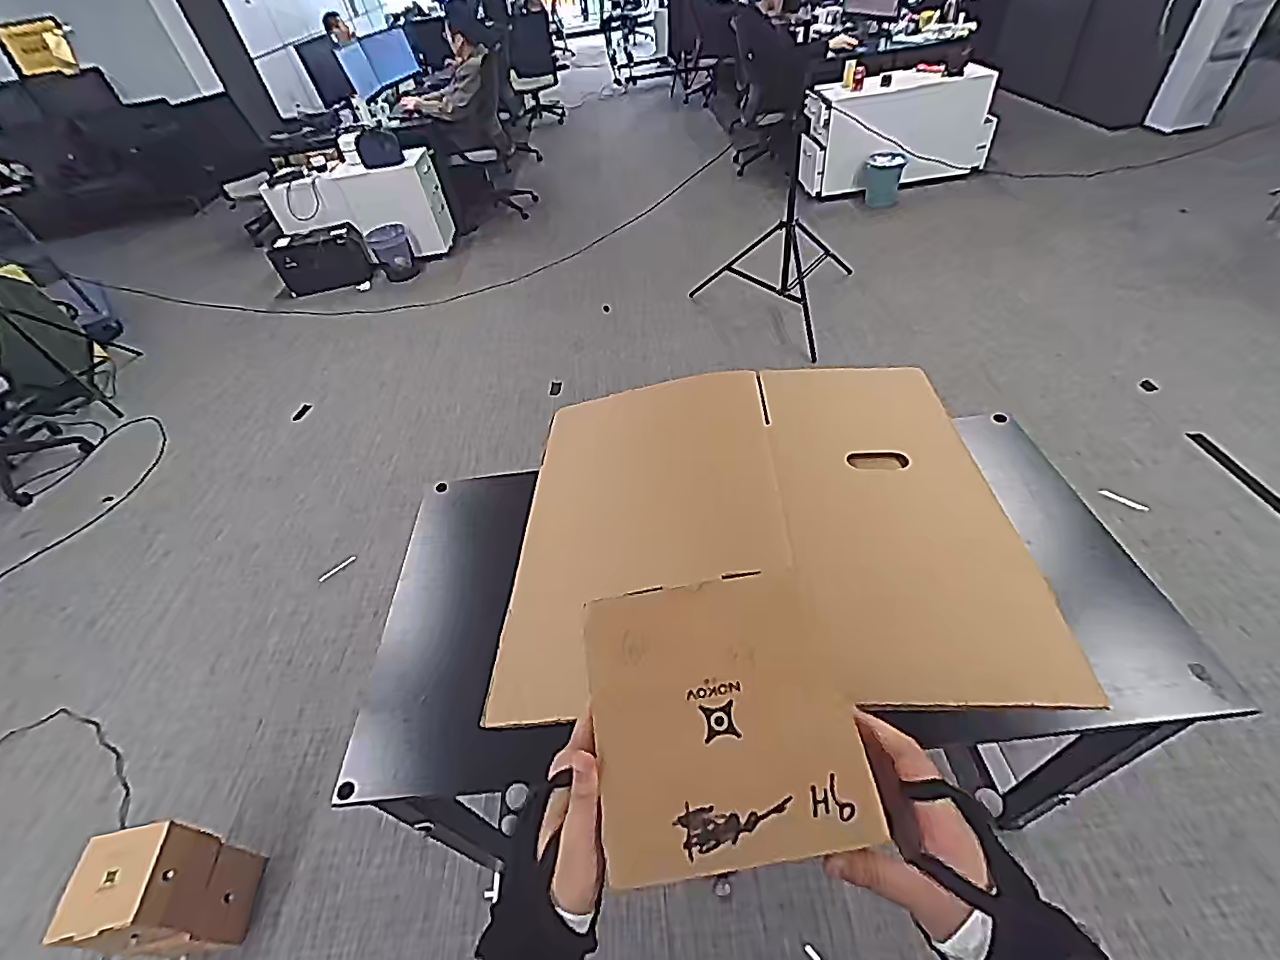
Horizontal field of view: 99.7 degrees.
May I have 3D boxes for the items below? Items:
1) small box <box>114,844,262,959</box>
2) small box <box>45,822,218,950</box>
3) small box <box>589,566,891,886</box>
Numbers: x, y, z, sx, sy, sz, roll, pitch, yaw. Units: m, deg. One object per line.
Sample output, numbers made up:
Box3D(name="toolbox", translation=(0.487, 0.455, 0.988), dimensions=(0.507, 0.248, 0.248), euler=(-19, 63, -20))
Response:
Box3D(name="small box", translation=(-1.006, 0.958, 1.227), dimensions=(0.168, 0.176, 0.179), euler=(-10, 46, 0))
Box3D(name="small box", translation=(-1.027, 0.842, 1.116), dimensions=(0.168, 0.176, 0.179), euler=(-11, 44, -3))
Box3D(name="small box", translation=(0.059, 0.190, 0.419), dimensions=(0.168, 0.176, 0.179), euler=(-10, 57, 1))
